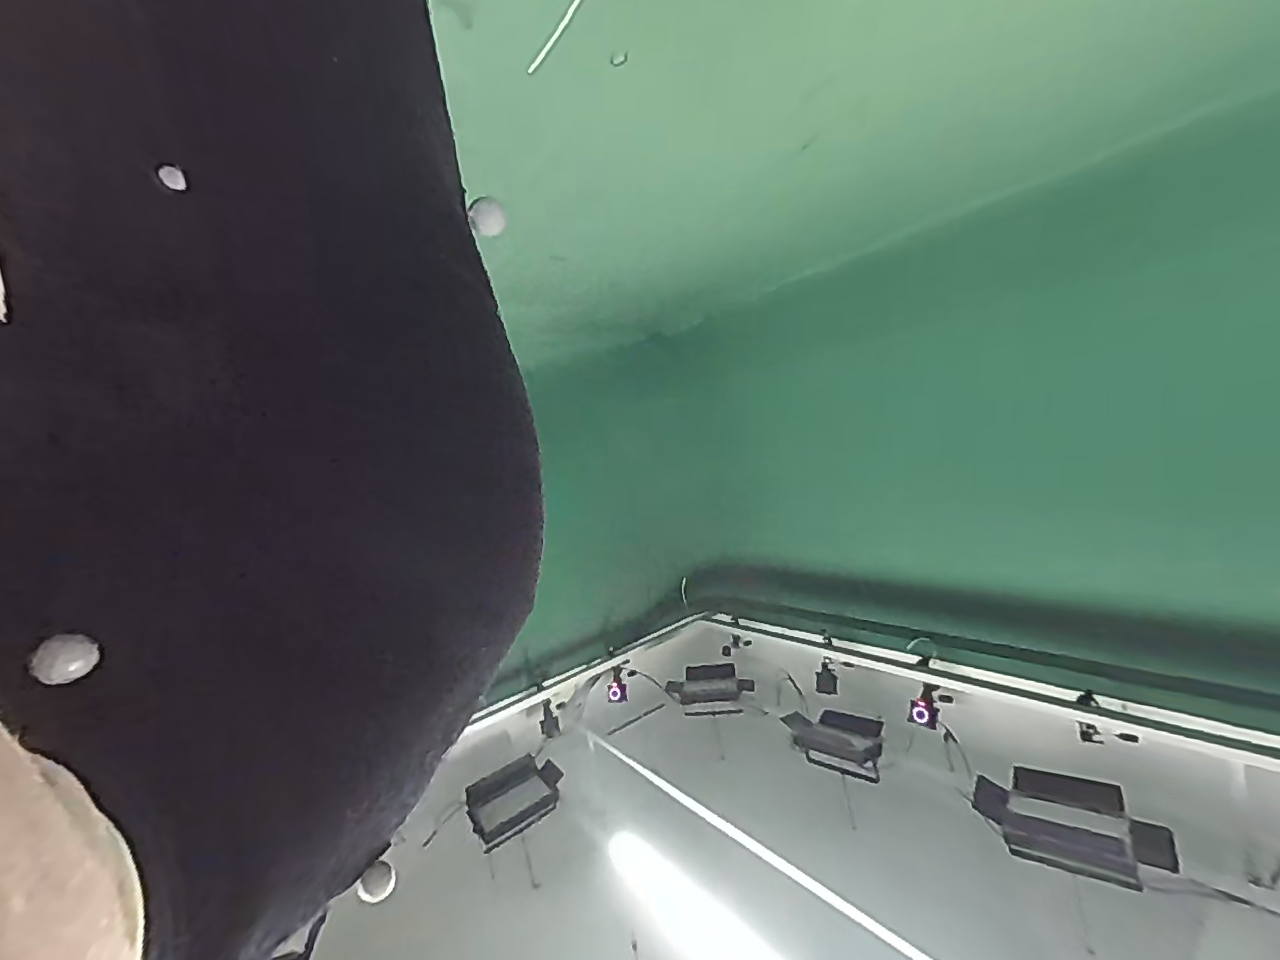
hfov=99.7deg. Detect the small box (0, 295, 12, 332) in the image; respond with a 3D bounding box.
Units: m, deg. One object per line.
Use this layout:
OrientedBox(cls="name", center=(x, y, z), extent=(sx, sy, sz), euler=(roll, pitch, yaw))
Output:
OrientedBox(cls="small box", center=(-1.746, -0.453, 1.340), extent=(0.168, 0.176, 0.179), euler=(-11, -176, 17))
